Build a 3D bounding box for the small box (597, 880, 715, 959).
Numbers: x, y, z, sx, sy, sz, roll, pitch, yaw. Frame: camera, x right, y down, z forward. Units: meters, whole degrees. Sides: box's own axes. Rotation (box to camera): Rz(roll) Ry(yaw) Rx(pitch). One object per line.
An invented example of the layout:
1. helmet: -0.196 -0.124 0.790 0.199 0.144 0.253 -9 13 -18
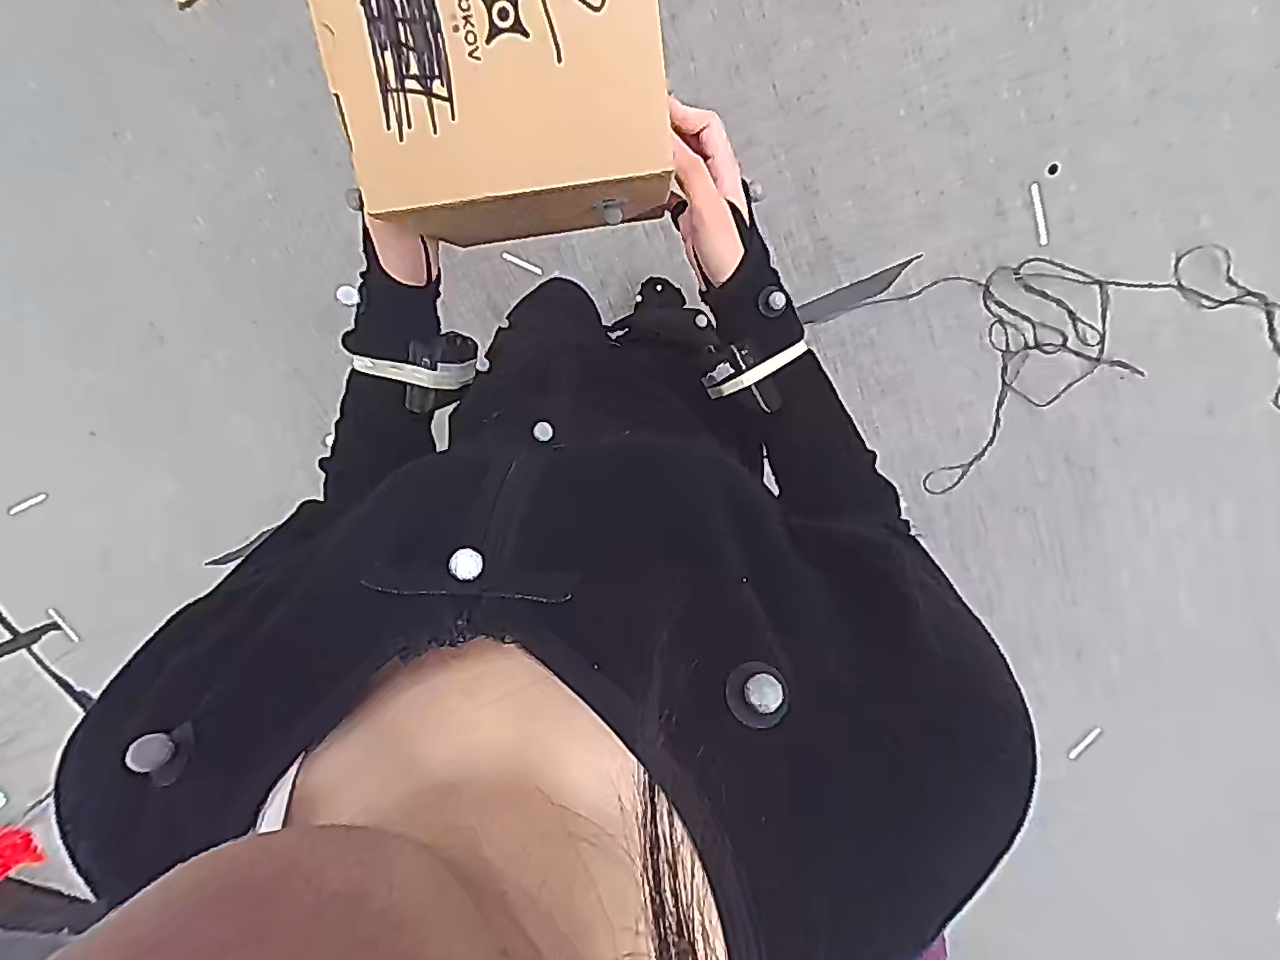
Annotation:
1. small box: 0.032 0.856 0.958 0.179 0.176 0.168 -18 108 10
